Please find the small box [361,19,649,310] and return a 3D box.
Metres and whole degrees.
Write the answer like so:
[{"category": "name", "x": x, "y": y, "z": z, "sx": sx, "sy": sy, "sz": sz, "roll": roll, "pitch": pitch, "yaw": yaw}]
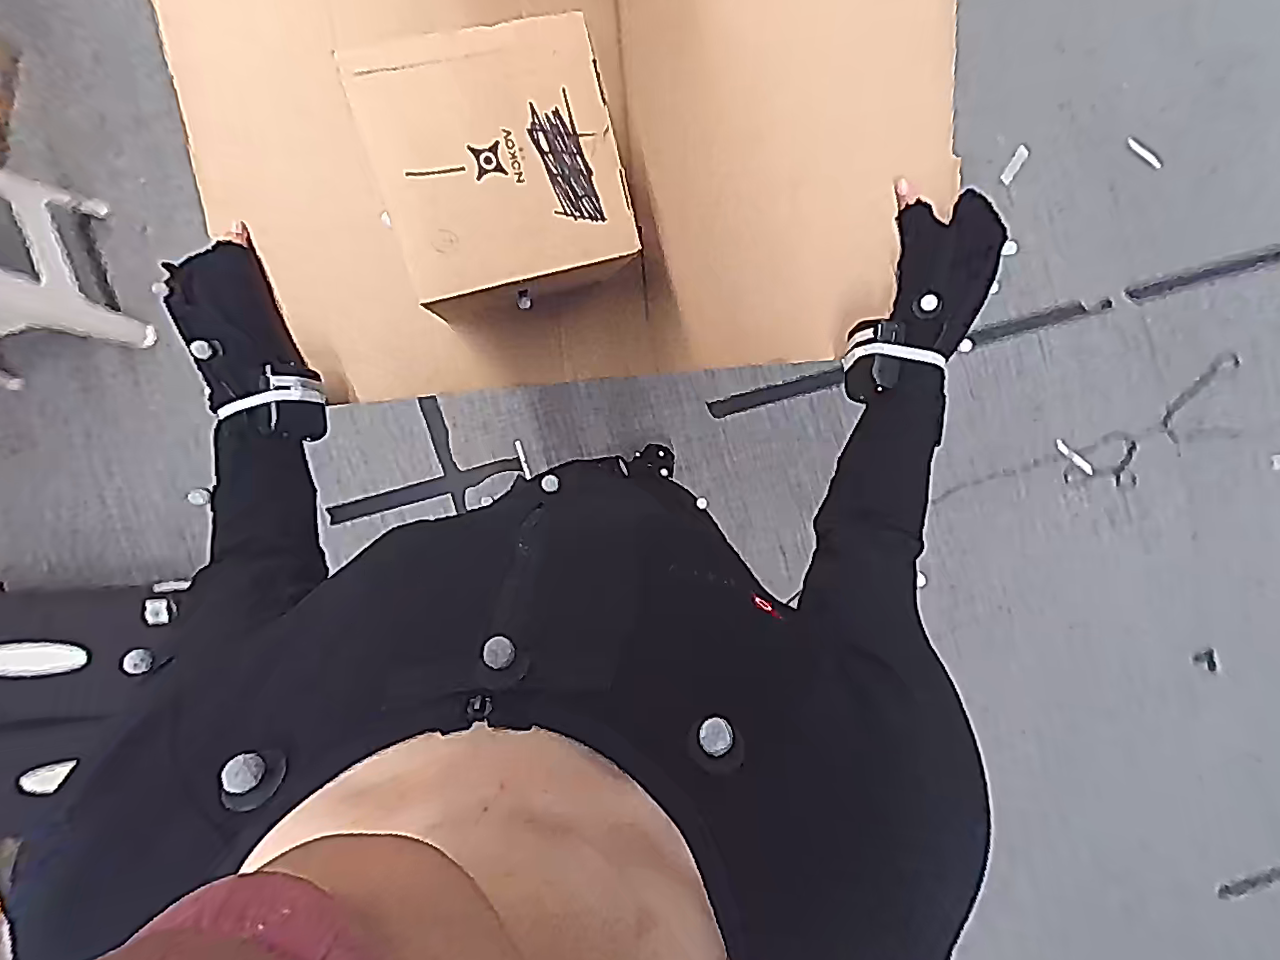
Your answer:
[{"category": "small box", "x": -0.110, "y": -0.254, "z": 0.475, "sx": 0.179, "sy": 0.176, "sz": 0.168, "roll": -16, "pitch": 106, "yaw": -9}]
